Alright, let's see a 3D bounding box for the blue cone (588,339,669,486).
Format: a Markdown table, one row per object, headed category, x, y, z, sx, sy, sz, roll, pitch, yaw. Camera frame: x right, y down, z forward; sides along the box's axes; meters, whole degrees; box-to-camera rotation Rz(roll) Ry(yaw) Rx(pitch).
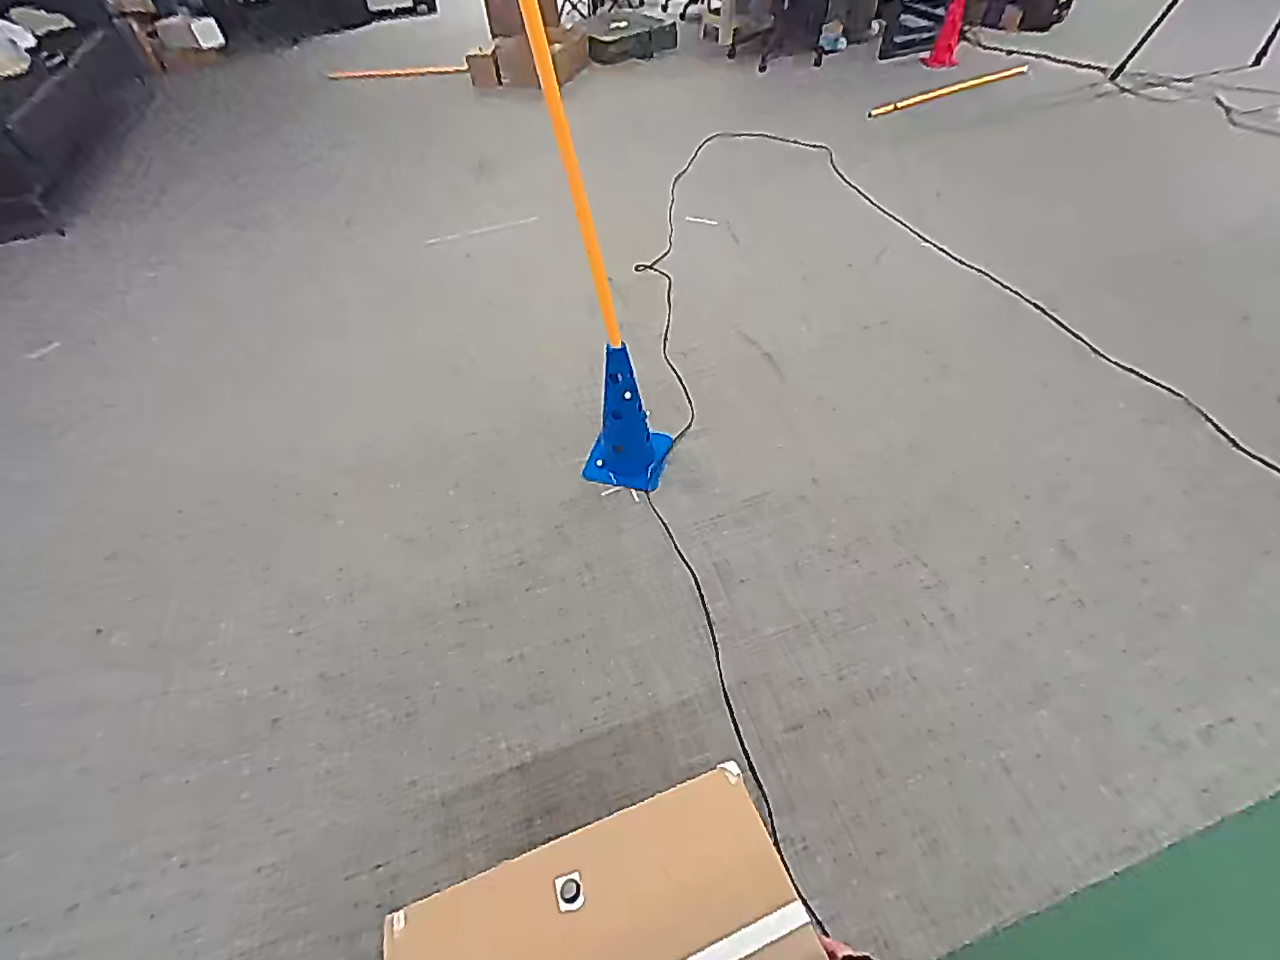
| category | x | y | z | sx | sy | sz | roll | pitch | yaw |
| --- | --- | --- | --- | --- | --- | --- | --- | --- | --- |
| blue cone | -0.038 | -0.166 | 1.269 | 0.192 | 0.380 | 0.193 | 8 | 52 | 11 |
